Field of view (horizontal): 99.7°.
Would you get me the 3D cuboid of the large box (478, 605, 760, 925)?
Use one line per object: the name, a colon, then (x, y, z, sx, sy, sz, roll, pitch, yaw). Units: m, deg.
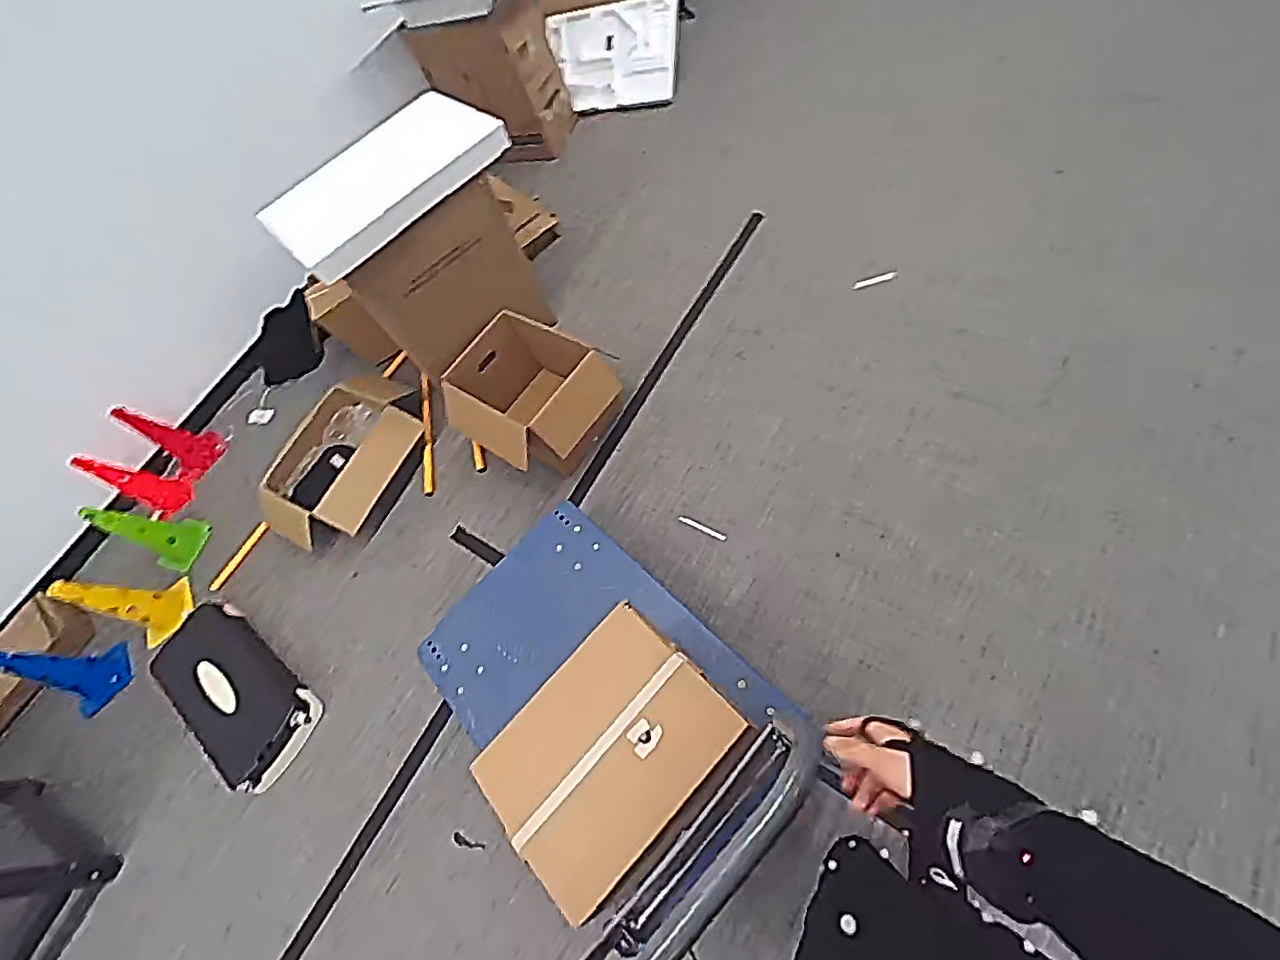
large box: (-0.020, 0.528, 1.054, 0.320, 0.320, 0.408, 38, 79, 29)
